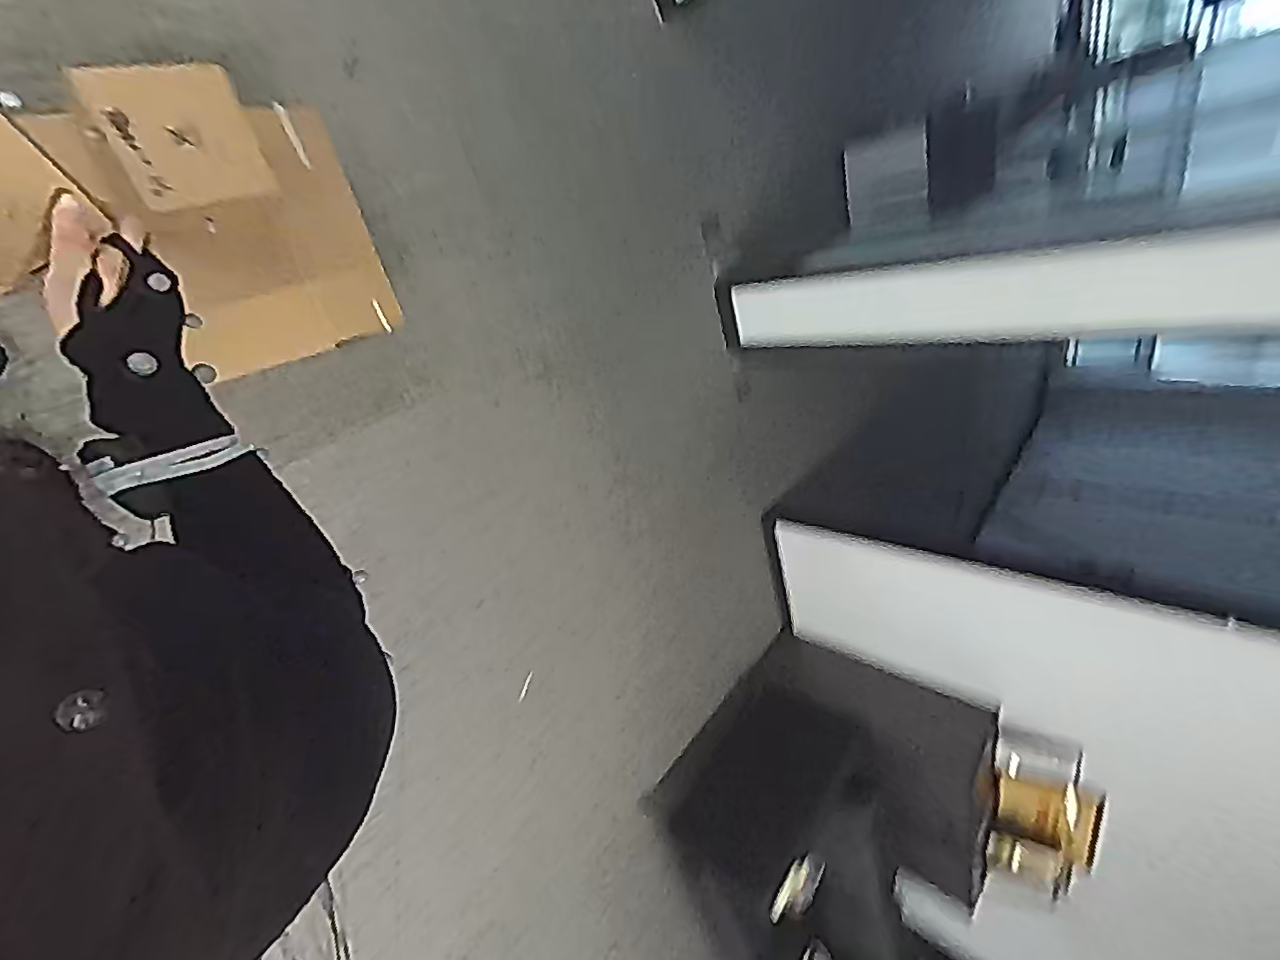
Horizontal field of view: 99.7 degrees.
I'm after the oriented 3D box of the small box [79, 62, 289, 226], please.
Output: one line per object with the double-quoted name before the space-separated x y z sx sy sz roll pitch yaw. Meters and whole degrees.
"small box" -0.673 -0.491 0.802 0.179 0.176 0.168 -37 123 -37
